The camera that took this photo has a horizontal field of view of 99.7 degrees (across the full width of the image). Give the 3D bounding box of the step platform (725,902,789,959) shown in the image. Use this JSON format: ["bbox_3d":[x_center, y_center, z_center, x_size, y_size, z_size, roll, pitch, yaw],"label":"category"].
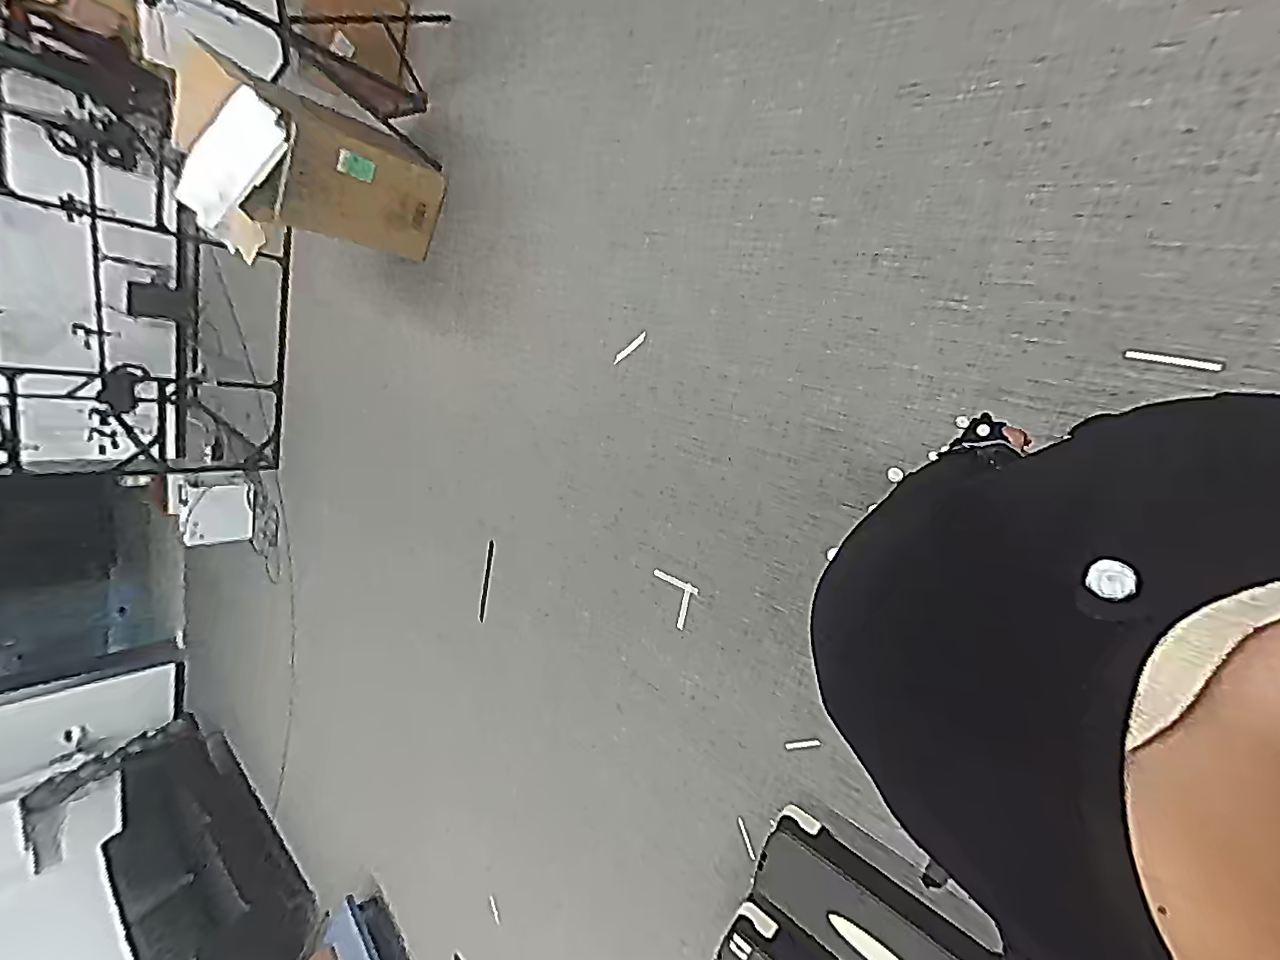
[{"bbox_3d":[0.507,1.471,1.348,0.684,0.204,0.286,29,109,36],"label":"step platform"}]
